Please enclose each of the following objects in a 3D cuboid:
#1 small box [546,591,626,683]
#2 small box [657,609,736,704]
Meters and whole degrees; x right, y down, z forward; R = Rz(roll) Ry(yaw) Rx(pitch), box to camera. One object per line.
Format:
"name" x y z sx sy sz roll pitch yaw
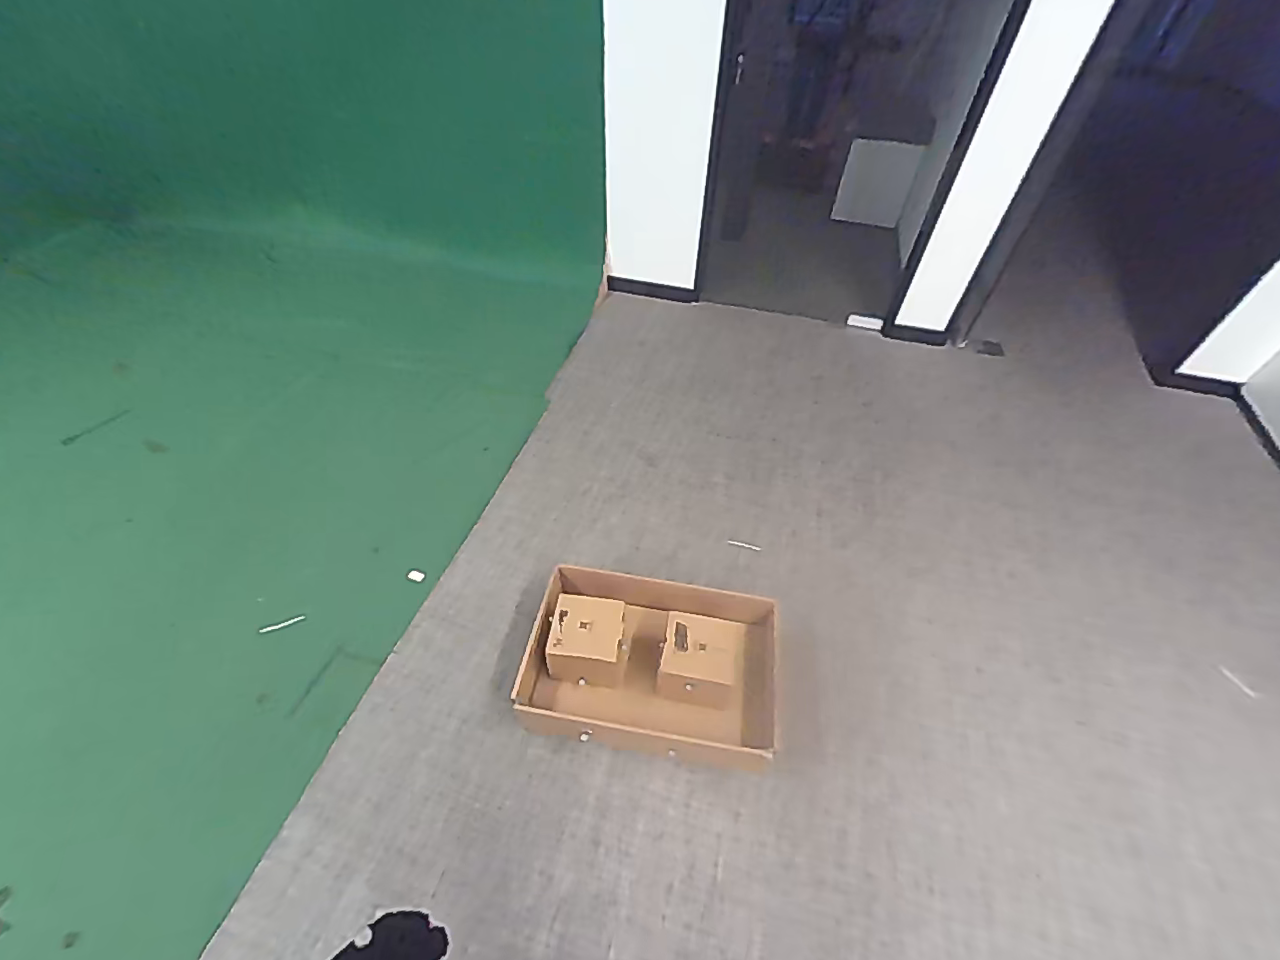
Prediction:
"small box" -0.137 0.415 1.411 0.179 0.176 0.168 7 48 2
"small box" 0.142 0.455 1.387 0.179 0.176 0.168 9 49 6
